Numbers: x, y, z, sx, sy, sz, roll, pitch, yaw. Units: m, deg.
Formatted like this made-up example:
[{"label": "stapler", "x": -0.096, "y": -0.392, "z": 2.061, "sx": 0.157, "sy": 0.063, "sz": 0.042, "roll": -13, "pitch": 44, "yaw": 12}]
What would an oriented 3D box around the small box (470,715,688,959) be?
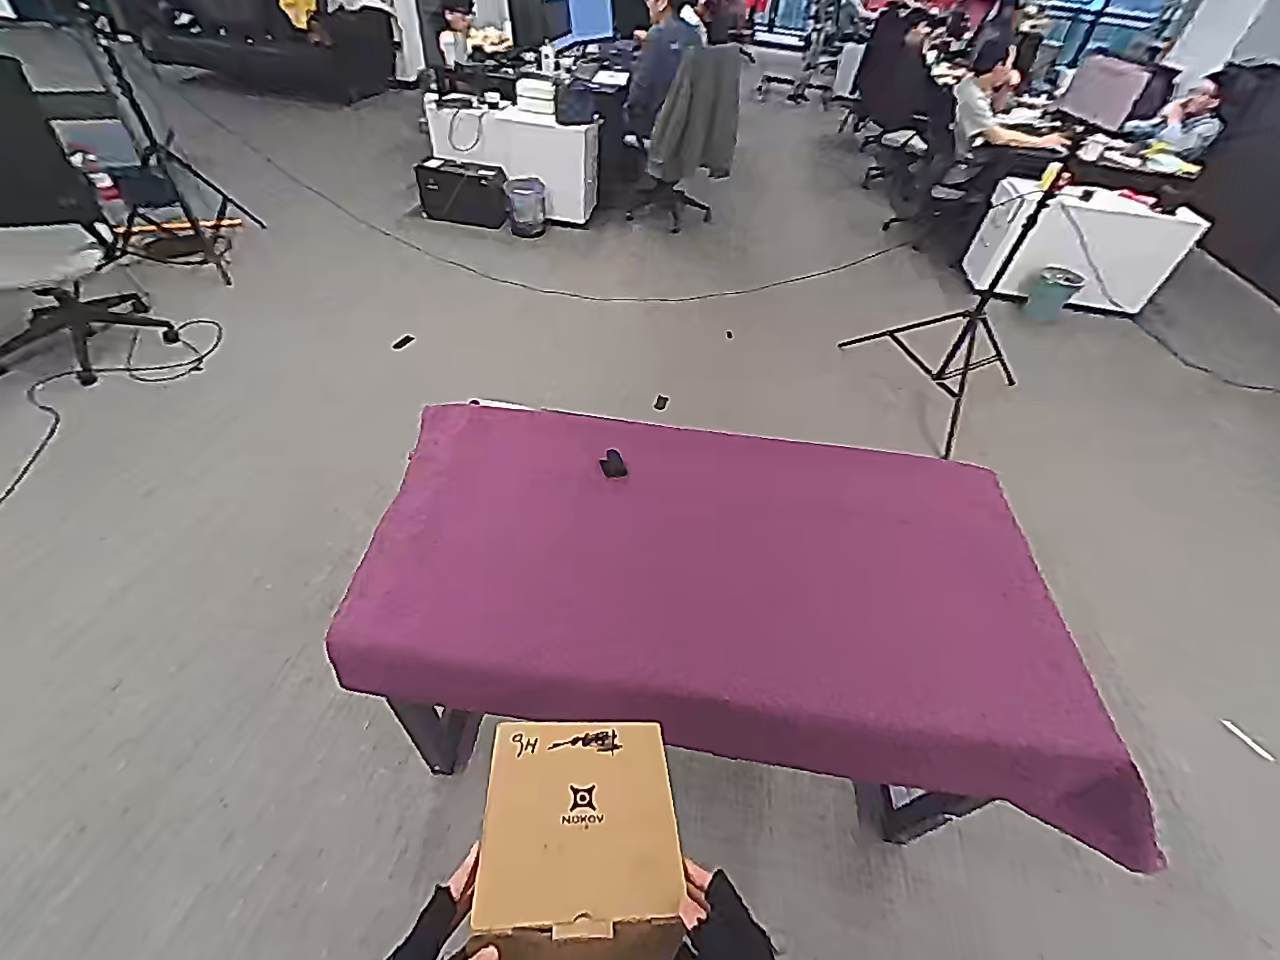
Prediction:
[{"label": "small box", "x": -0.061, "y": 0.351, "z": 0.511, "sx": 0.168, "sy": 0.176, "sz": 0.179, "roll": 5, "pitch": 28, "yaw": -10}]
